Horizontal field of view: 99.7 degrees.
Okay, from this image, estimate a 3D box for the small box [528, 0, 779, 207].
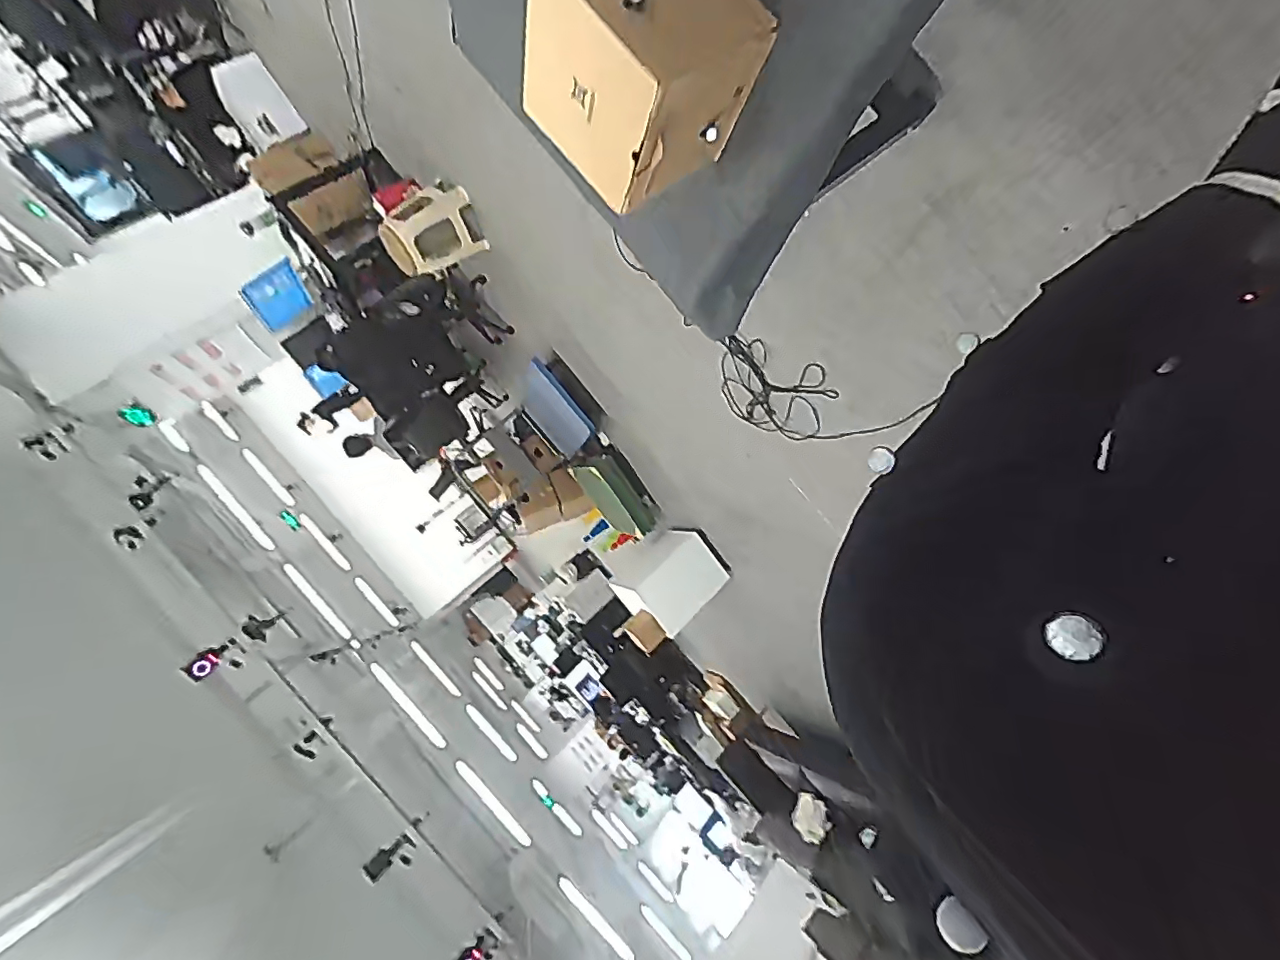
[{"bbox_3d":[0.006,-0.440,0.570,0.179,0.176,0.168,49,159,2],"label":"small box"}]
